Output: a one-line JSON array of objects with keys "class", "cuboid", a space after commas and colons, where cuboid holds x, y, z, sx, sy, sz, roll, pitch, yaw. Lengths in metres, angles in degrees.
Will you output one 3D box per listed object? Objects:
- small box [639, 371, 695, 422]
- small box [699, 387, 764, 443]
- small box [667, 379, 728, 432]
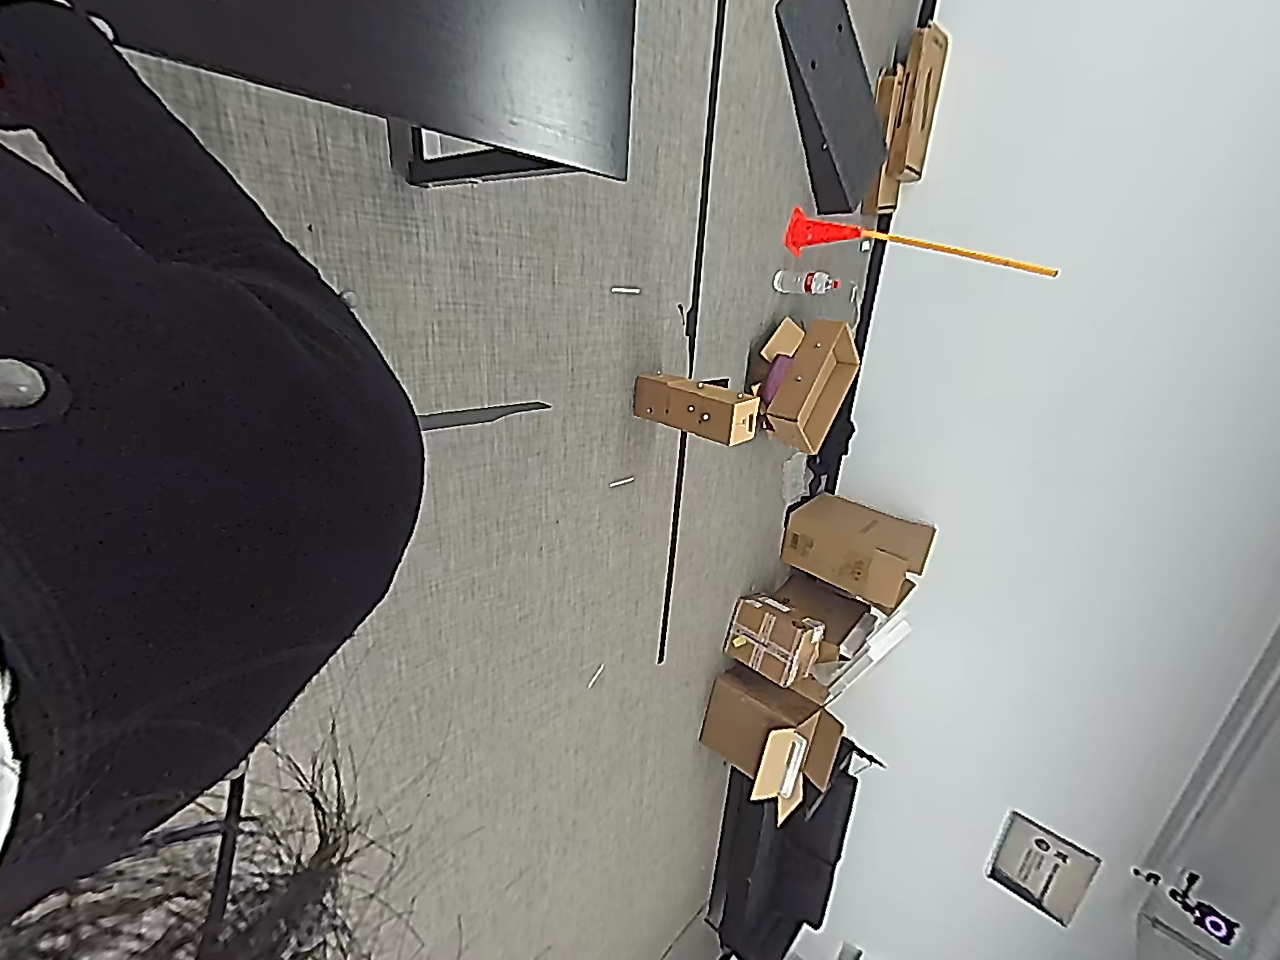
[{"class": "small box", "cuboid": [0.111, -0.356, 2.279, 0.168, 0.176, 0.179, -19, 119, -45]}, {"class": "small box", "cuboid": [0.350, -0.255, 2.077, 0.179, 0.176, 0.168, -20, 121, -43]}, {"class": "small box", "cuboid": [0.230, -0.307, 2.177, 0.179, 0.176, 0.168, -21, 122, -44]}]
